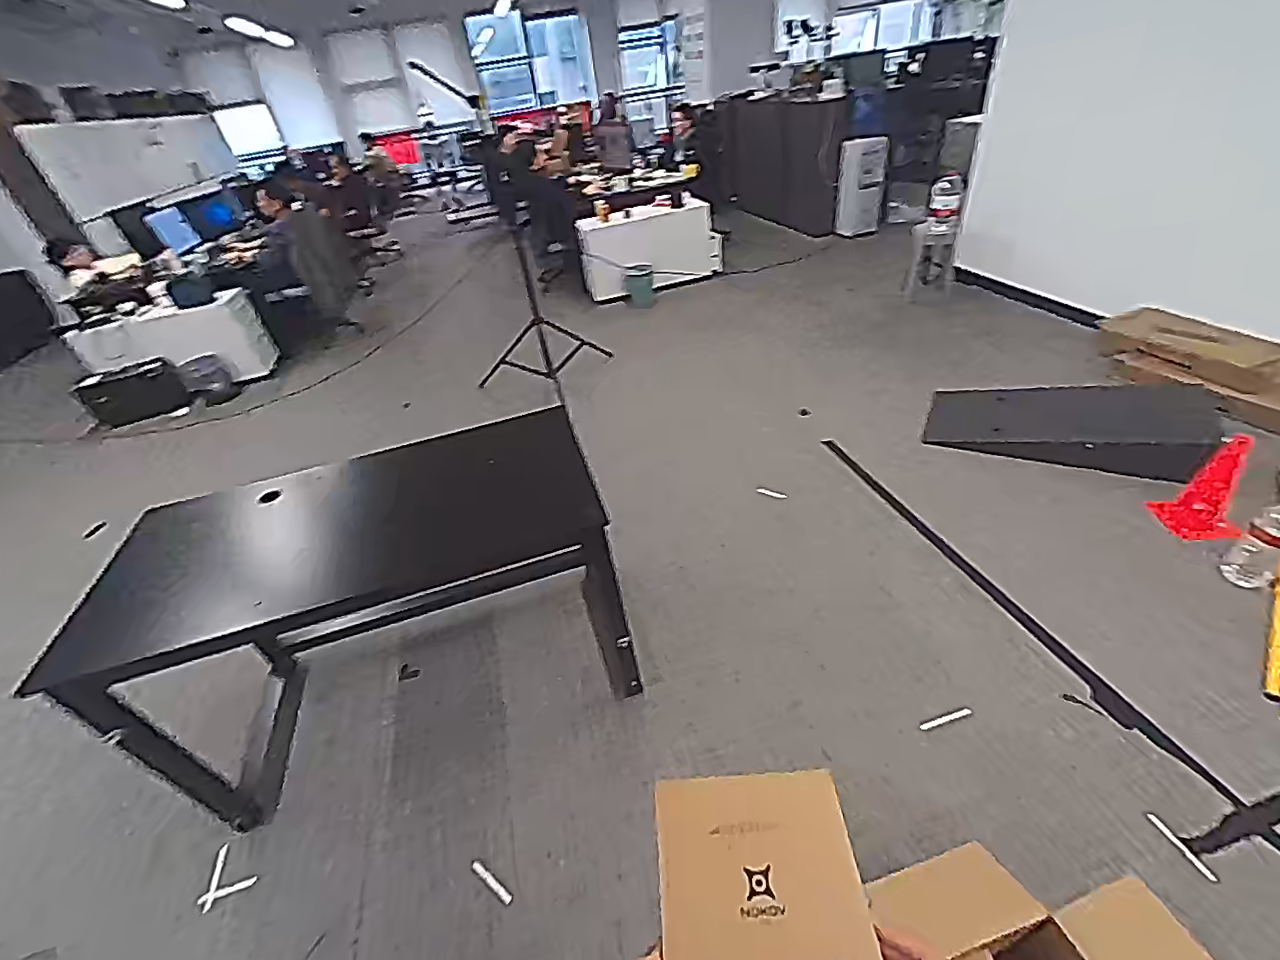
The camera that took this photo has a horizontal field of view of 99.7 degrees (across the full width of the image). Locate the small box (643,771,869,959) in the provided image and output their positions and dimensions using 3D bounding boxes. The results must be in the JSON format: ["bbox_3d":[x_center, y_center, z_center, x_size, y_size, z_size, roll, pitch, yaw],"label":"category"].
[{"bbox_3d":[0.094,0.393,0.489,0.168,0.176,0.179,-5,40,0],"label":"small box"}]
